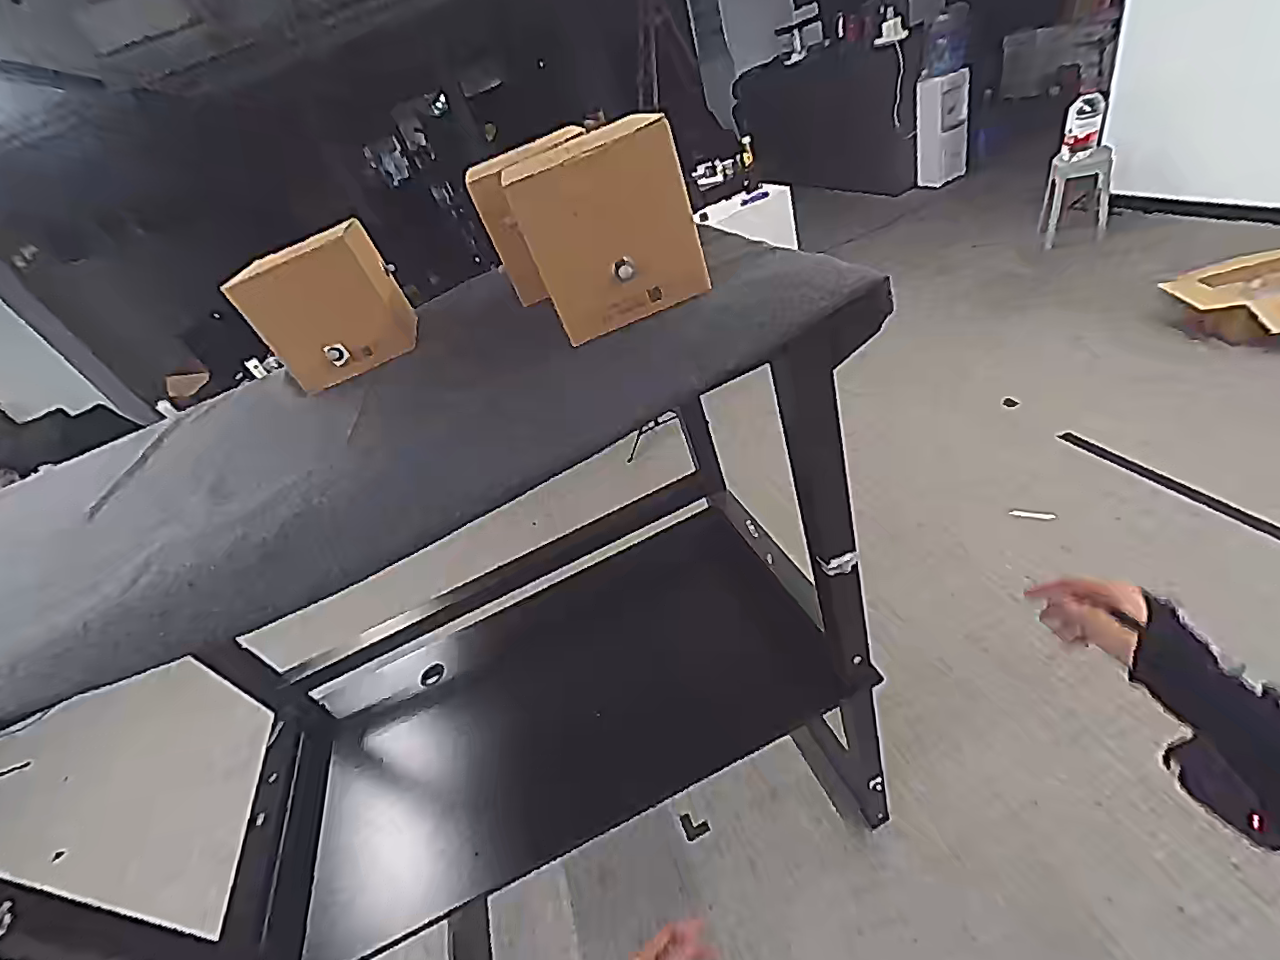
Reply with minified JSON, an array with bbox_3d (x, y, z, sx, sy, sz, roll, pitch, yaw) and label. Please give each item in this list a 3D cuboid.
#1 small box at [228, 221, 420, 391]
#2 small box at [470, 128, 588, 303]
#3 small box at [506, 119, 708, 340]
[{"bbox_3d":[-0.444,-0.256,0.797,0.168,0.176,0.179,-27,37,-4],"label":"small box"},{"bbox_3d":[-0.129,-0.378,0.781,0.168,0.176,0.179,-23,38,0],"label":"small box"},{"bbox_3d":[-0.039,-0.283,0.614,0.168,0.176,0.179,-22,36,2],"label":"small box"}]
